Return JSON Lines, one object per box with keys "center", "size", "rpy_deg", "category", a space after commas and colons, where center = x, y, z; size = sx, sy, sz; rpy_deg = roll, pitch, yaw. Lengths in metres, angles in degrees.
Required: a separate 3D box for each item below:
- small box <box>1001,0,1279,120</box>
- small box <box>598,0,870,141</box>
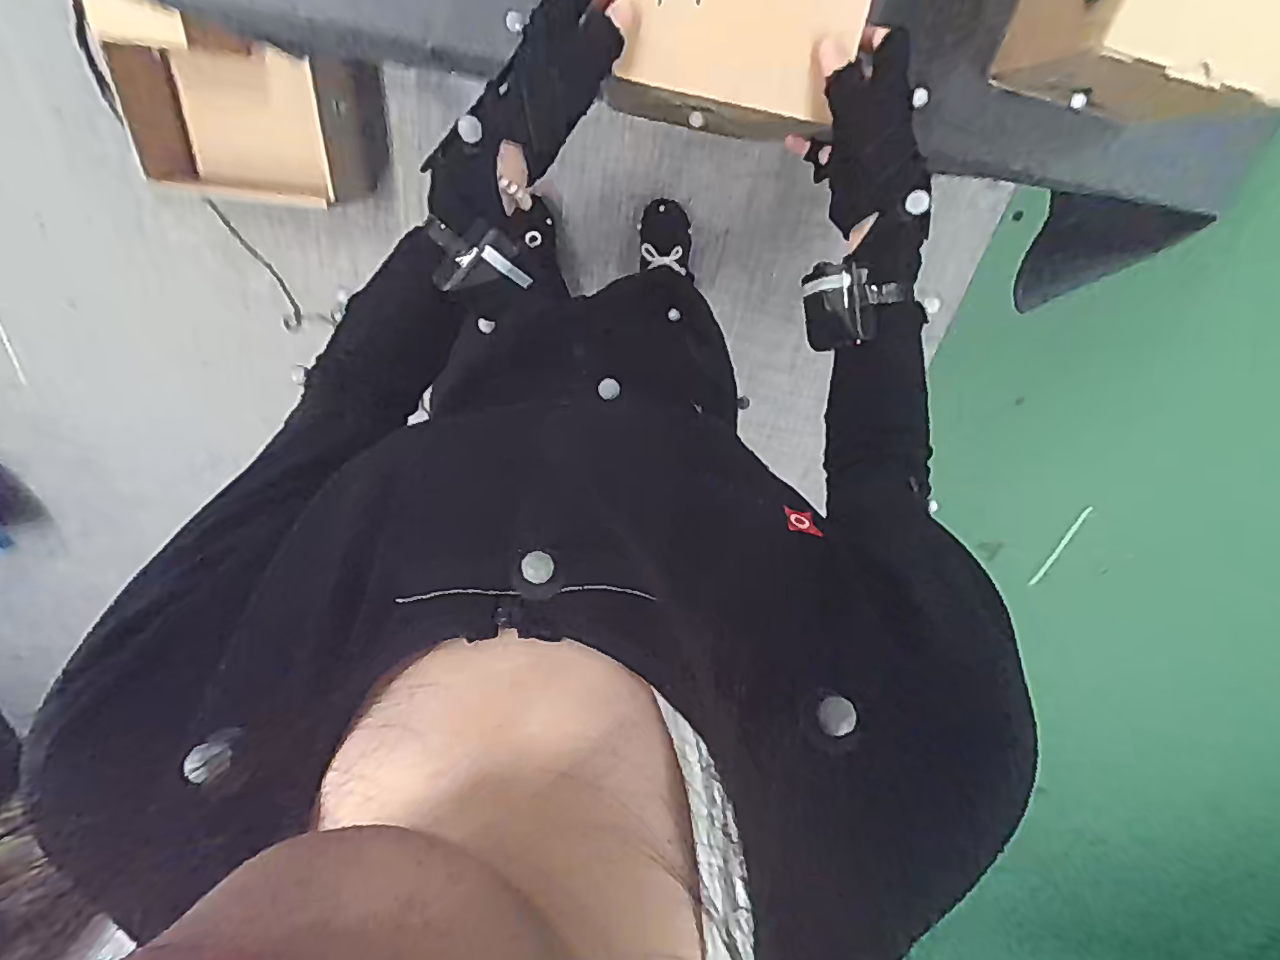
{"center": [0.439, -0.413, 0.430], "size": [0.168, 0.176, 0.179], "rpy_deg": [13, 120, -5], "category": "small box"}
{"center": [0.065, -0.380, 0.422], "size": [0.179, 0.176, 0.168], "rpy_deg": [6, 116, -11], "category": "small box"}
